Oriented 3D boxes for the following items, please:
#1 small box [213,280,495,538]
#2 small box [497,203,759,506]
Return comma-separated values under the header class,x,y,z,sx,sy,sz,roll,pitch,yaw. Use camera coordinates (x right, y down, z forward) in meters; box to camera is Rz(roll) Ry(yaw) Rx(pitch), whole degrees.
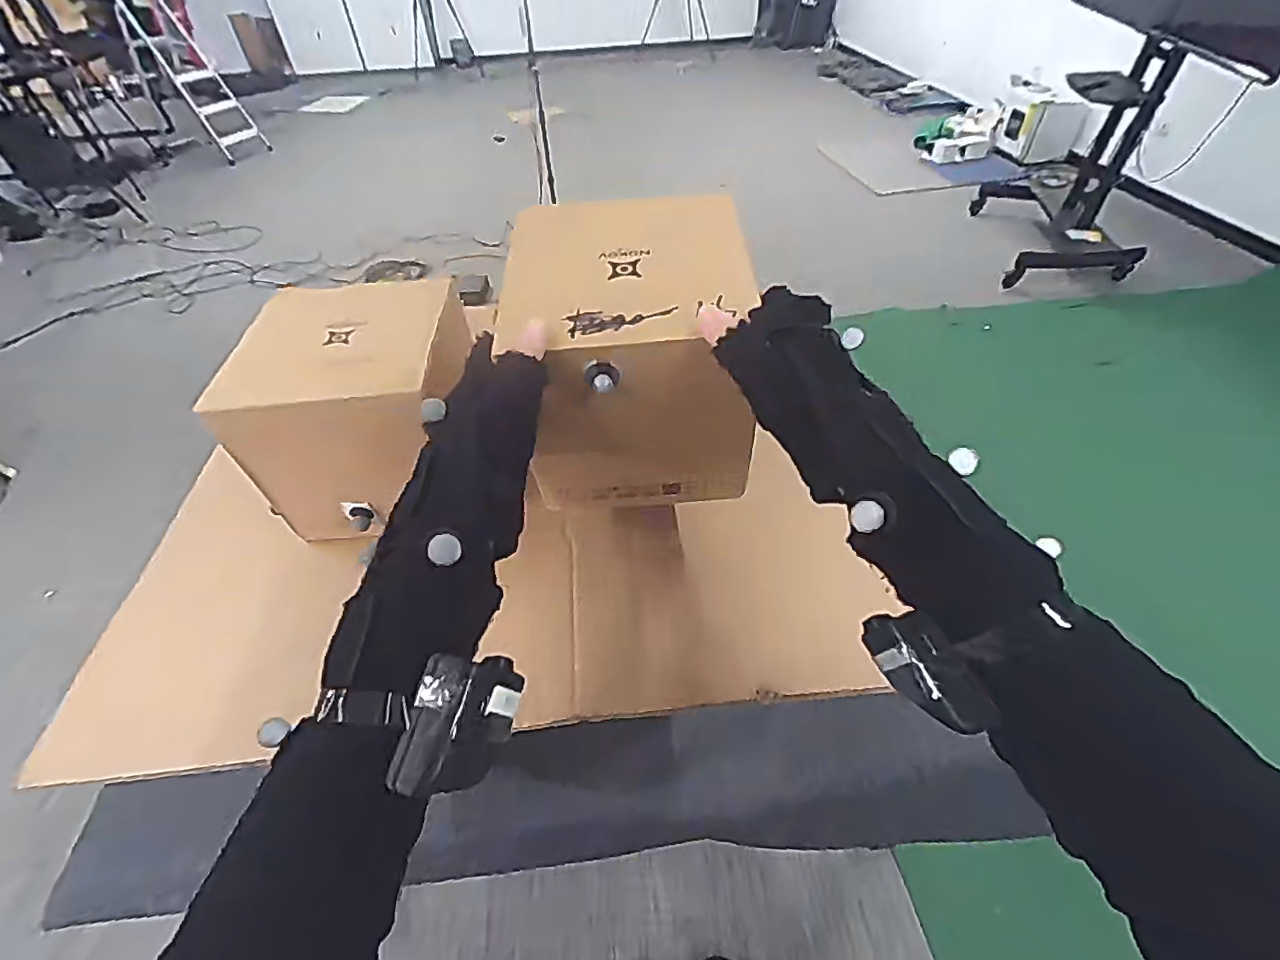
class,x,y,z,sx,sy,sz,roll,pitch,yaw
small box,-0.243,-0.067,0.519,0.168,0.176,0.179,-6,49,-2
small box,-0.004,-0.099,0.444,0.168,0.176,0.179,-4,52,3
